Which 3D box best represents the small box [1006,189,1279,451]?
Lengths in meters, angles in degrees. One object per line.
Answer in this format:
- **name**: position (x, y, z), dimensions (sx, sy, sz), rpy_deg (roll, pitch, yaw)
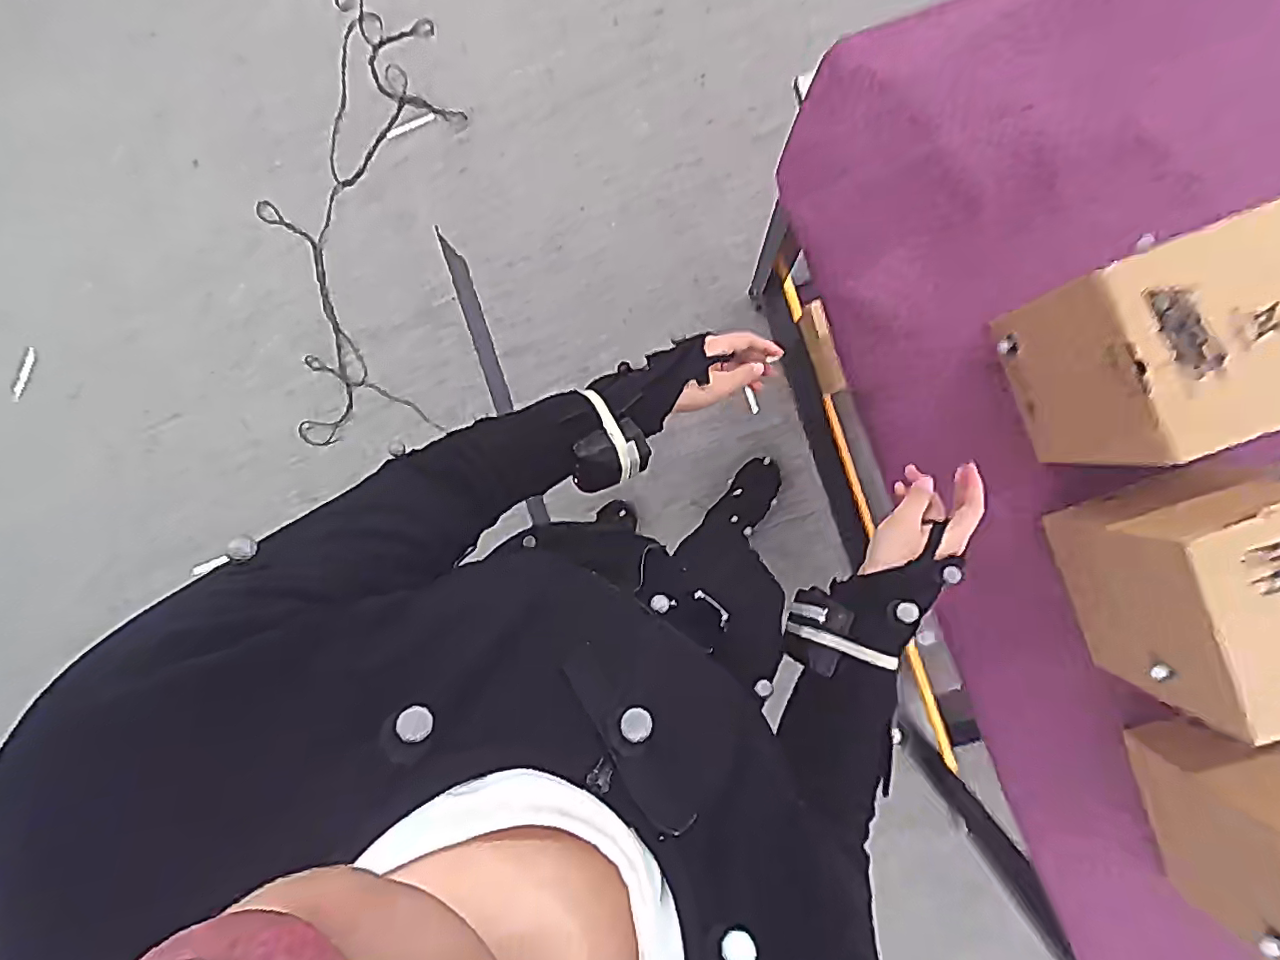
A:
- **small box**: position (0.475, -0.129, 0.489), dimensions (0.179, 0.176, 0.168), rpy_deg (-21, 91, 5)
